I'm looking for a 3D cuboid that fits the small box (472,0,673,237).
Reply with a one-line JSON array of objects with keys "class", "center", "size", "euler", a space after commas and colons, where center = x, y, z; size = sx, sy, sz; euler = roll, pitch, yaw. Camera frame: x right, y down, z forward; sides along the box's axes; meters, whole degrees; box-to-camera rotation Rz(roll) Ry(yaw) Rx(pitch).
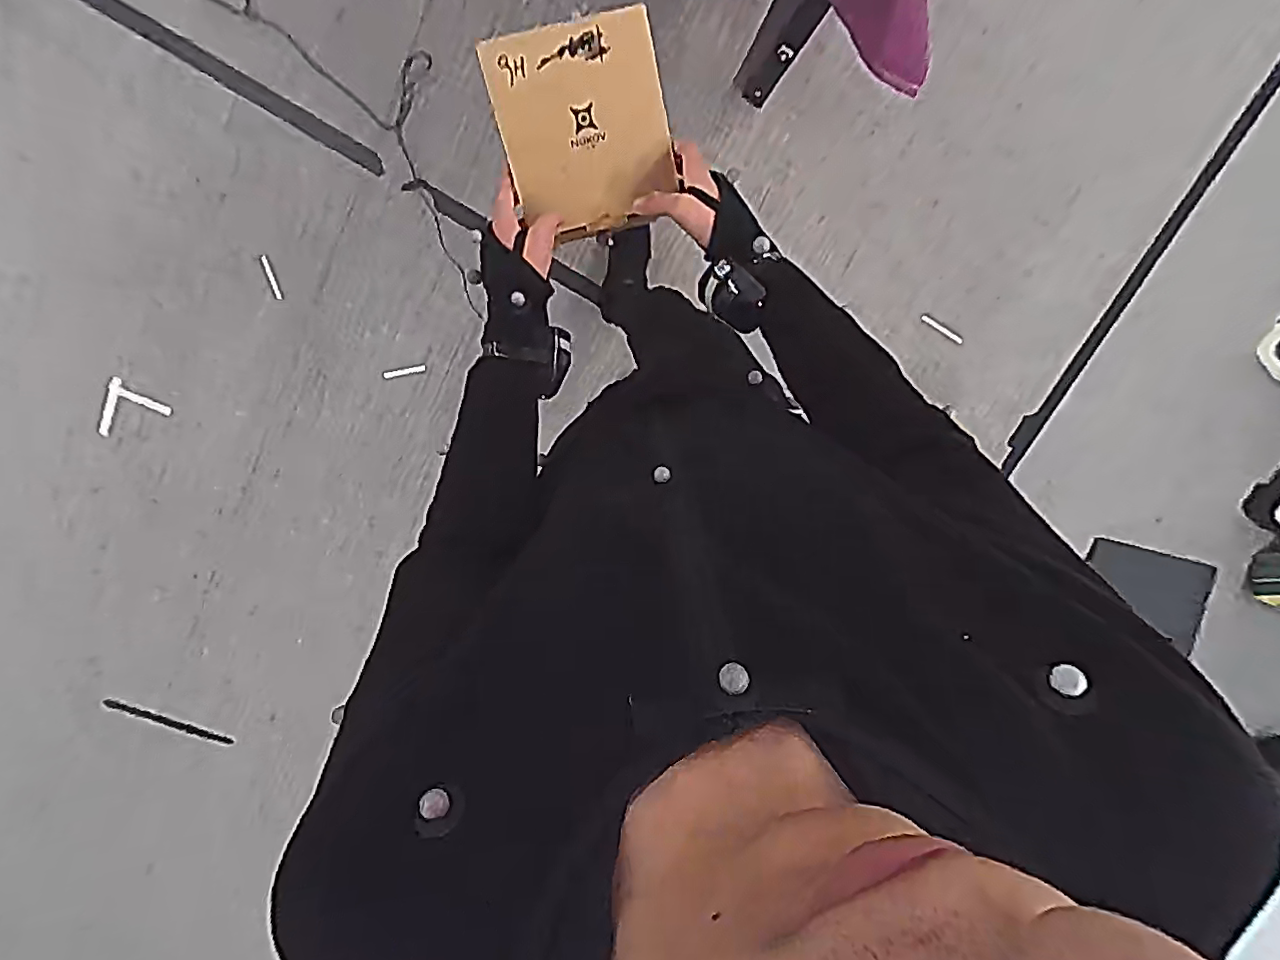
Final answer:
[{"class": "small box", "center": [-0.070, -0.382, 0.609], "size": [0.168, 0.176, 0.179], "euler": [-15, 113, -3]}]
